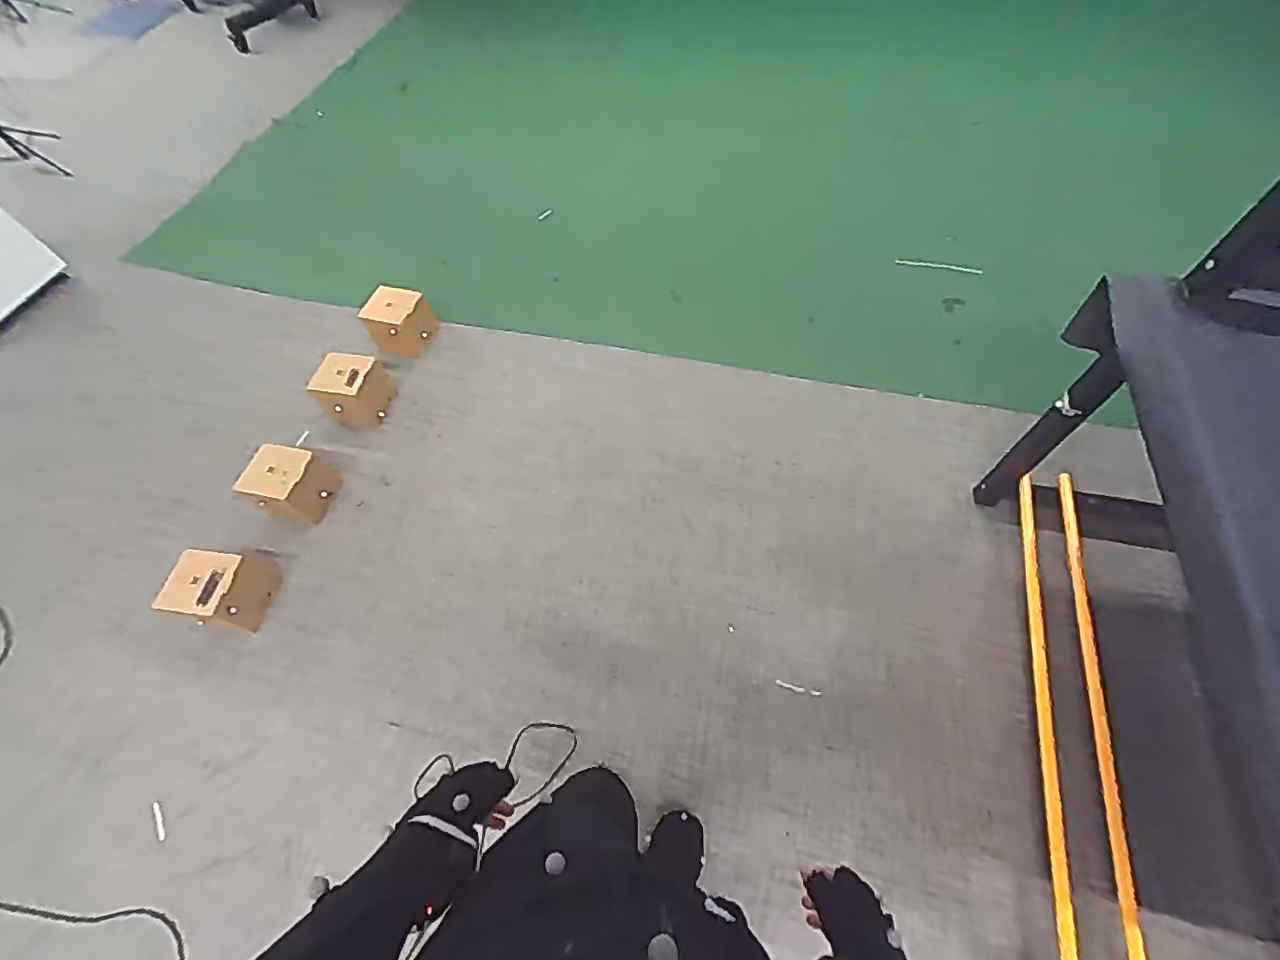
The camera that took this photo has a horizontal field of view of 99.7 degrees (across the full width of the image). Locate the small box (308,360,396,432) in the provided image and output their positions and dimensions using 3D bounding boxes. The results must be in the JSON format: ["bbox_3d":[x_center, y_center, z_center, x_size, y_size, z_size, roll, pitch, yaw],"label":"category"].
[{"bbox_3d":[-0.956,-0.278,1.817,0.179,0.176,0.168,7,59,8],"label":"small box"}]

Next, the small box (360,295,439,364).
[{"bbox_3d":[-0.873,-0.546,1.977,0.179,0.176,0.168,13,61,10],"label":"small box"}]

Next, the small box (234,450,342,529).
[{"bbox_3d":[-1.052,0.033,1.630,0.179,0.176,0.168,10,61,9],"label":"small box"}]
